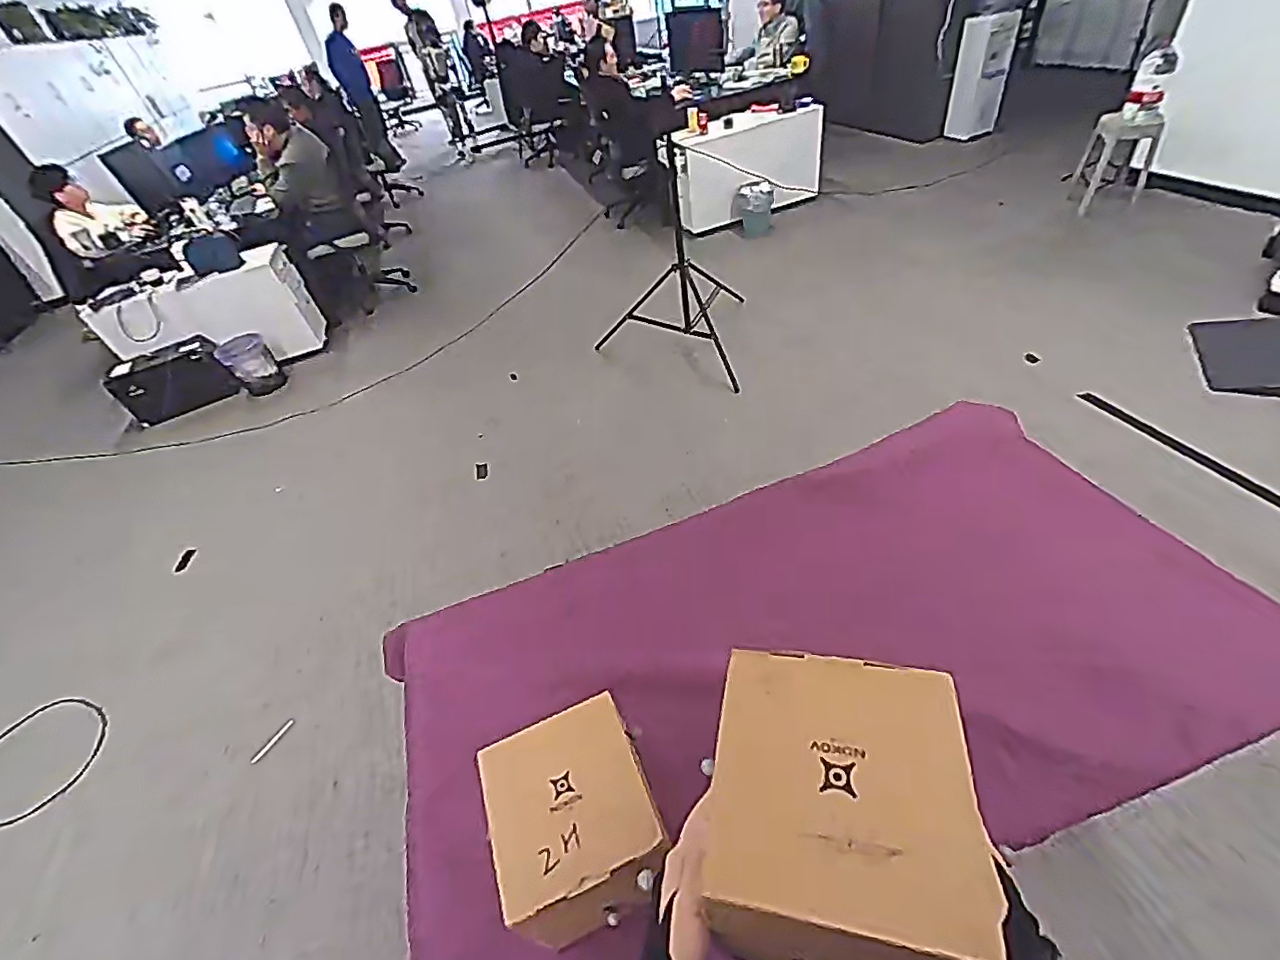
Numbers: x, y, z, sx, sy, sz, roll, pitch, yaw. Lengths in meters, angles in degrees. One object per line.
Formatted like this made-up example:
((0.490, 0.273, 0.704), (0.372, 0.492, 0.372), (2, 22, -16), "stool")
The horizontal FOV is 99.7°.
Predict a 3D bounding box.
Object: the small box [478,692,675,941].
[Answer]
((-0.072, 0.393, 0.635), (0.168, 0.176, 0.179), (-22, 44, -10), "small box")

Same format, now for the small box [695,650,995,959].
((0.145, 0.261, 0.419), (0.168, 0.176, 0.179), (0, 39, 18), "small box")
